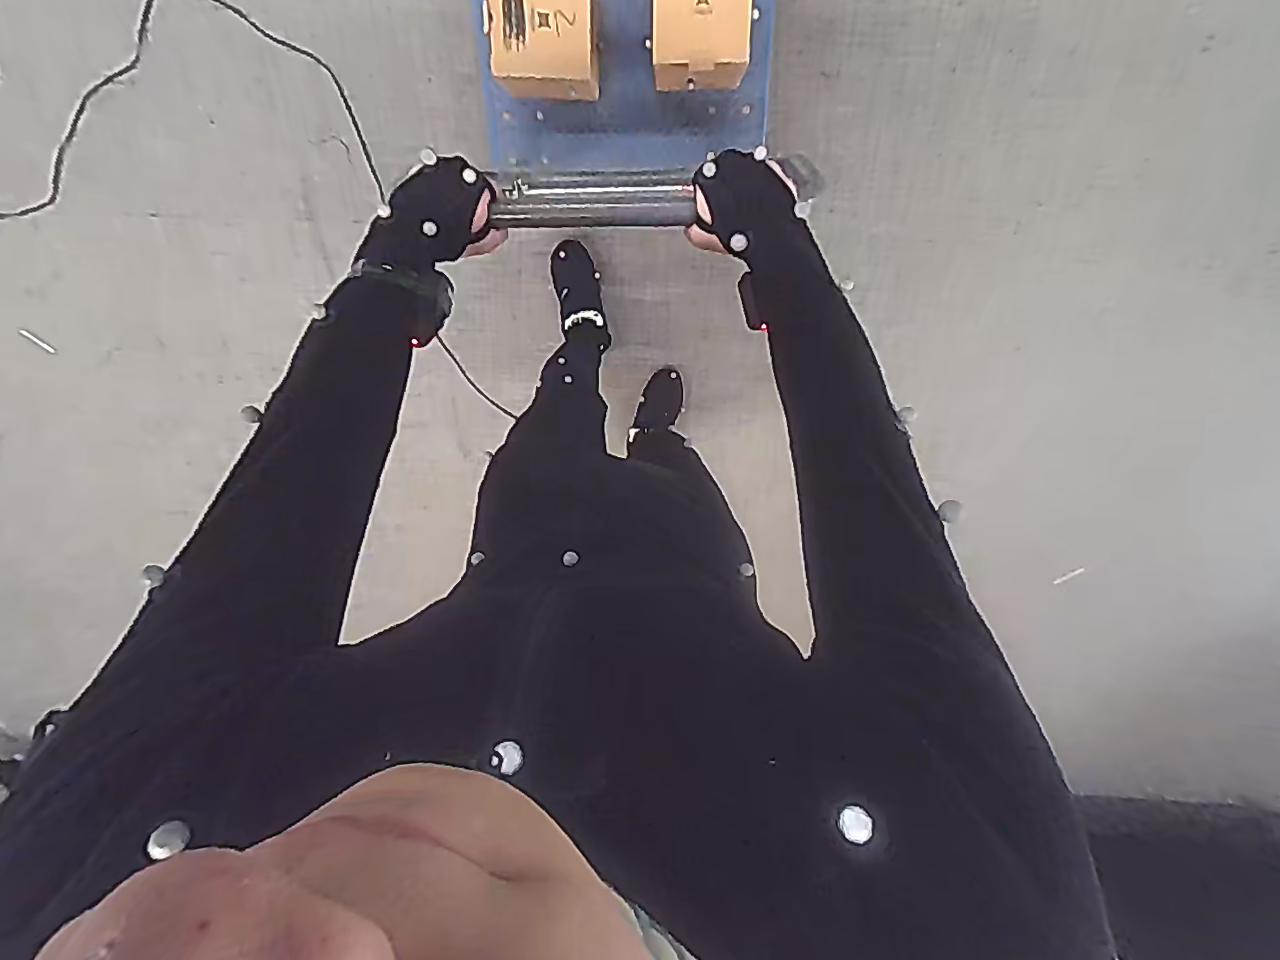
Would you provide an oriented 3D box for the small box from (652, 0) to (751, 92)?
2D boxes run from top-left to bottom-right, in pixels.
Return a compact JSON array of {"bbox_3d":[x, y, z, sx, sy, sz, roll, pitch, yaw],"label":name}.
[{"bbox_3d":[0.105,-0.826,0.975,0.168,0.176,0.179,0,115,2],"label":"small box"}]
